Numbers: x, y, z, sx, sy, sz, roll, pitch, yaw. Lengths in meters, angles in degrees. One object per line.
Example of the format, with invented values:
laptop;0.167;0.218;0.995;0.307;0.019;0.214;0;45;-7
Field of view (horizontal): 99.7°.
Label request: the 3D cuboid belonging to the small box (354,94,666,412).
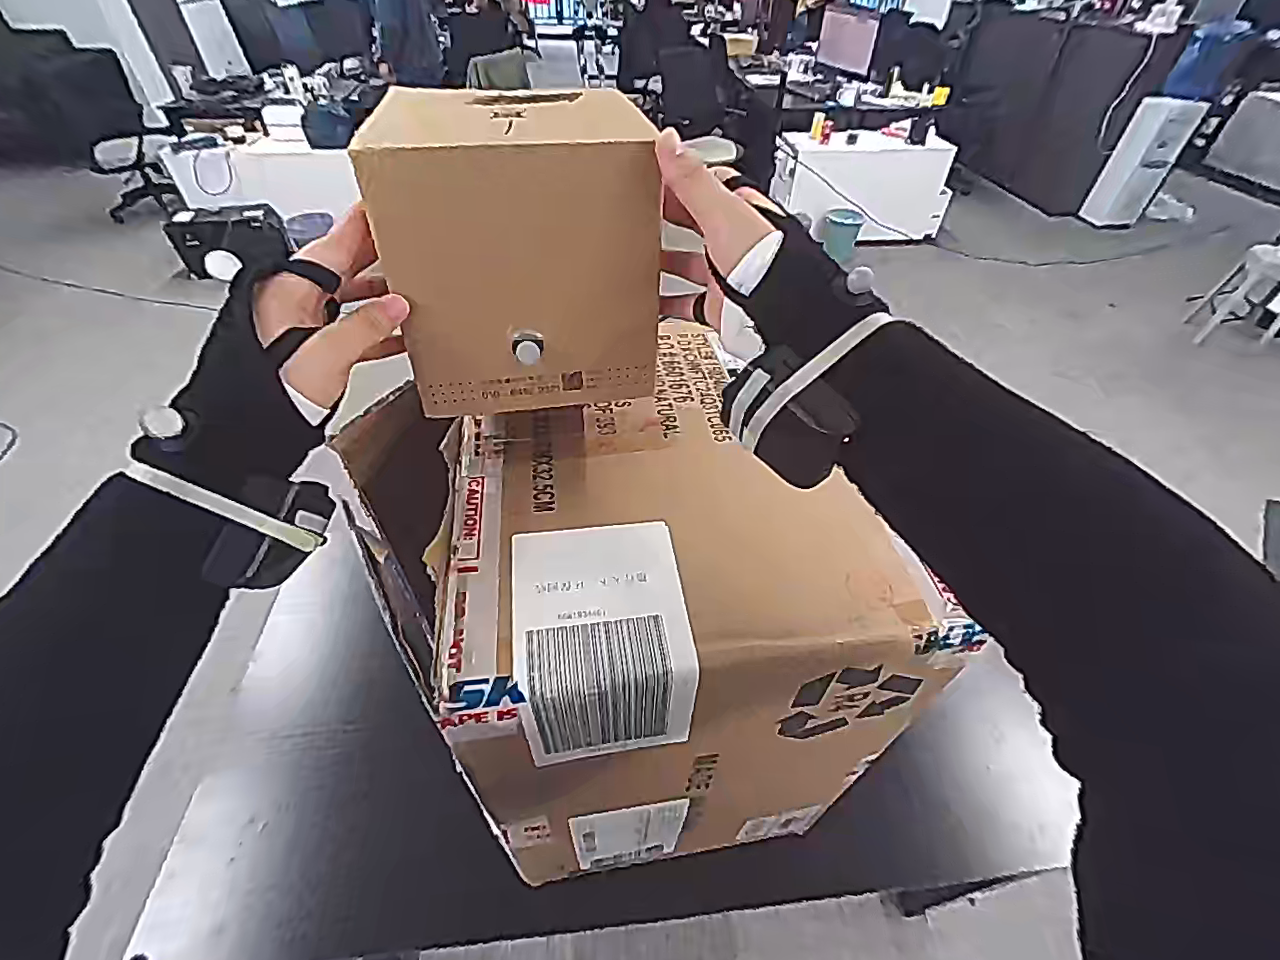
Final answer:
small box;-0.083;-0.170;0.398;0.168;0.176;0.179;-7;43;-9
